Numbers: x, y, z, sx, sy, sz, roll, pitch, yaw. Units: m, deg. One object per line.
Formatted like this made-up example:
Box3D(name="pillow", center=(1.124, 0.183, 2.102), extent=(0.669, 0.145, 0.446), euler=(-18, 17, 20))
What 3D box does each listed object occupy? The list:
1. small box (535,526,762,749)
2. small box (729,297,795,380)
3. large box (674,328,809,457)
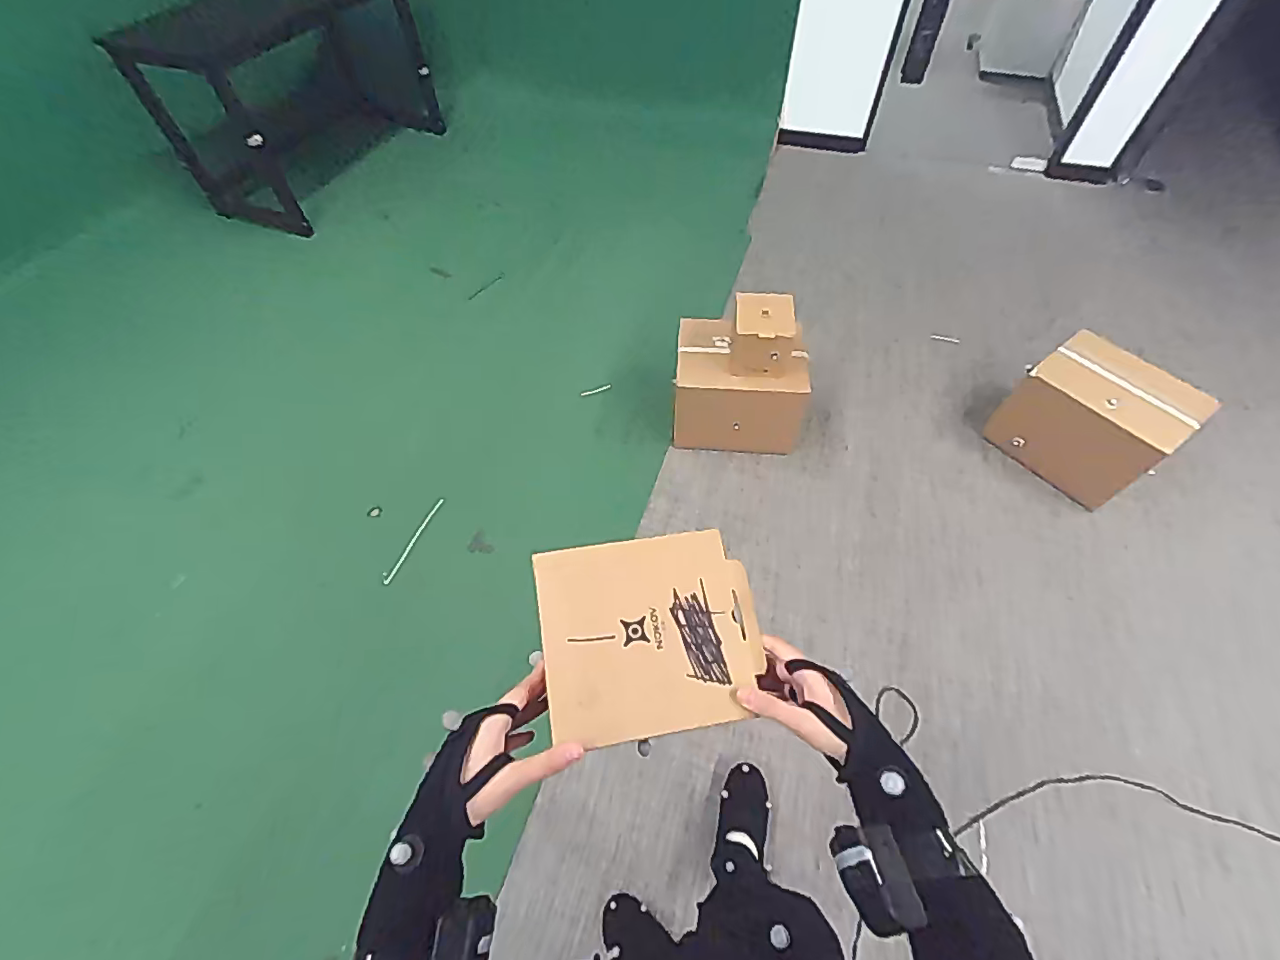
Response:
Box3D(name="small box", center=(-0.006, 0.158, 0.532), extent=(0.179, 0.176, 0.168), euler=(-6, 65, -10))
Box3D(name="small box", center=(0.357, -0.416, 1.601), extent=(0.168, 0.176, 0.179), euler=(4, 56, 4))
Box3D(name="large box", center=(0.322, -0.290, 1.814), extent=(0.408, 0.320, 0.320), euler=(2, 54, 5))
